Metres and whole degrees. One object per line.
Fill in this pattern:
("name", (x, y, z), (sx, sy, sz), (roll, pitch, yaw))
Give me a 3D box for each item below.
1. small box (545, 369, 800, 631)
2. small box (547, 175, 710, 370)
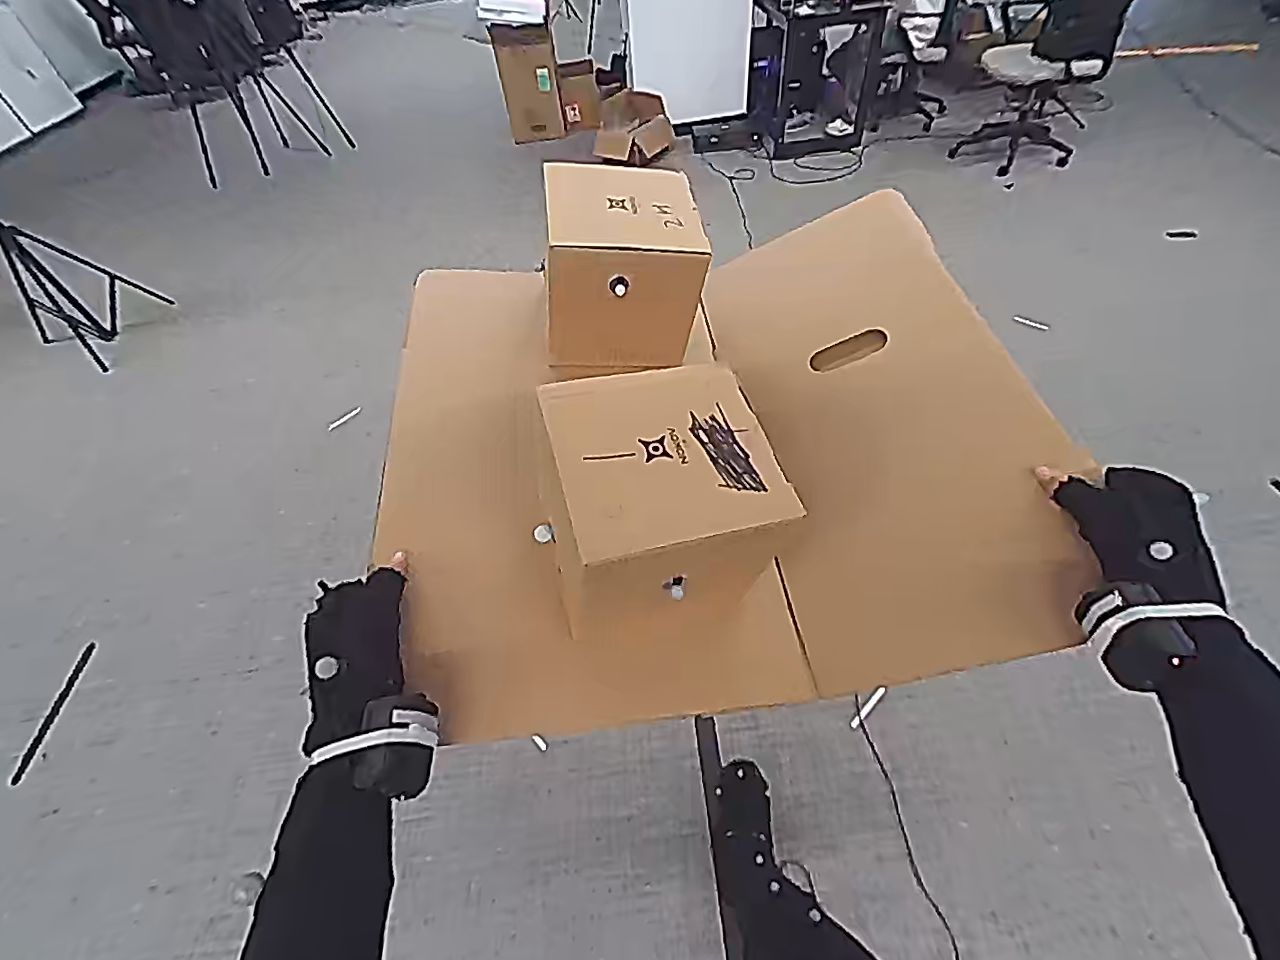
("small box", (0.012, 0.022, 0.503), (0.179, 0.176, 0.168), (-11, 59, -15))
("small box", (-0.027, -0.255, 0.684), (0.179, 0.176, 0.168), (-1, 57, -11))
